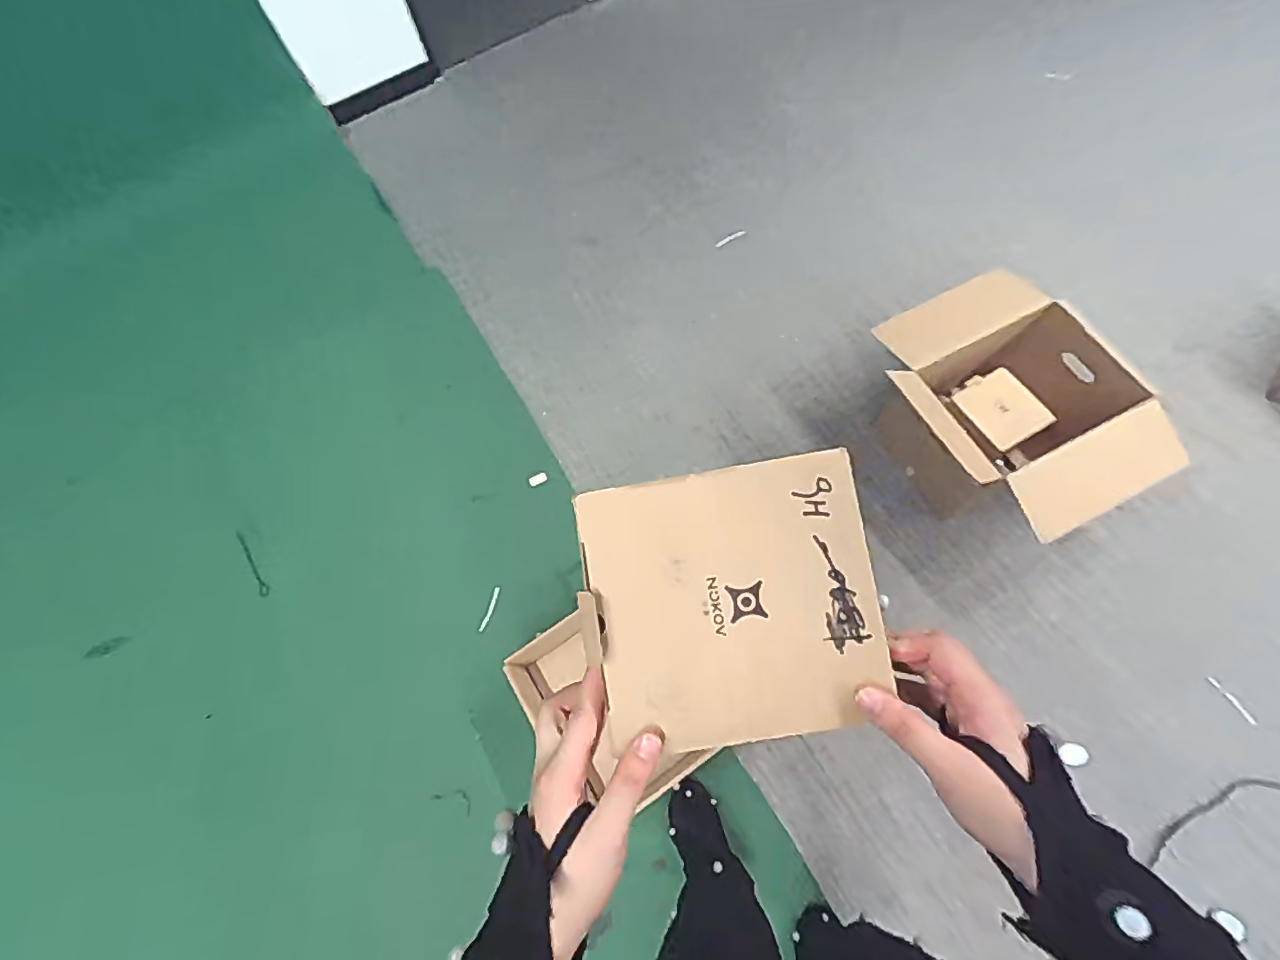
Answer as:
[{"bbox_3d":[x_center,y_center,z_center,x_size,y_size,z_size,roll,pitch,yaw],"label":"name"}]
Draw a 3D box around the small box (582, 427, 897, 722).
[{"bbox_3d":[0.065,0.067,0.419,0.179,0.176,0.168,-10,84,3],"label":"small box"}]
